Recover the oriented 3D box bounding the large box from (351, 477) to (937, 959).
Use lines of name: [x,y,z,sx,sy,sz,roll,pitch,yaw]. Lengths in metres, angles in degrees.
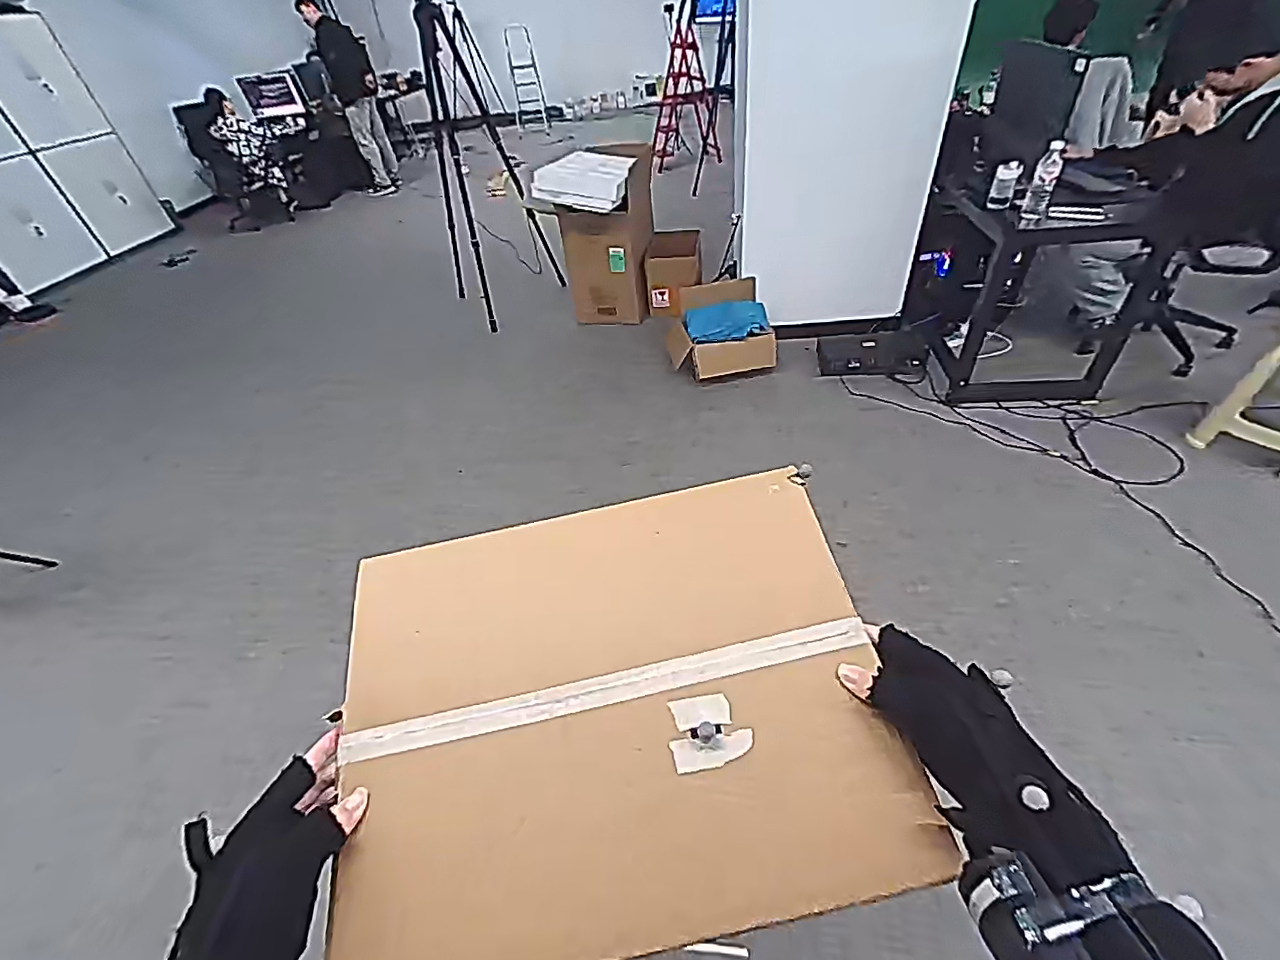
large box: [-0.011,0.244,0.555,0.408,0.320,0.320,-12,58,-2]
